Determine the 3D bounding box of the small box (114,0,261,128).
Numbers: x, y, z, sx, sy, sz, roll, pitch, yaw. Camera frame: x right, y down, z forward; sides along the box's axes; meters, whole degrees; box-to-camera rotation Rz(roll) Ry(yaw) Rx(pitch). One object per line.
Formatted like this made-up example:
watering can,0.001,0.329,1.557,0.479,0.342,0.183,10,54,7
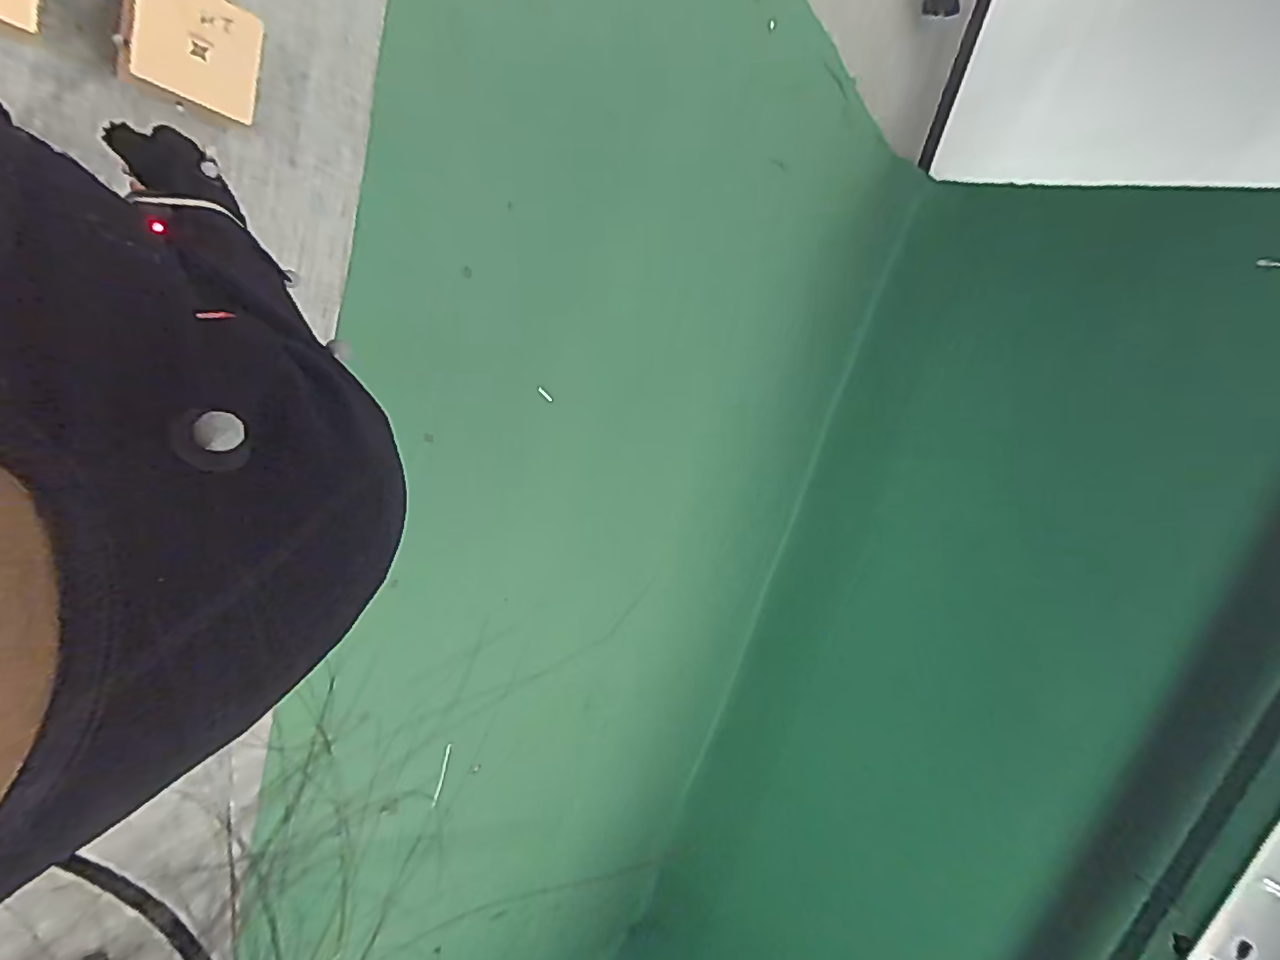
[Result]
small box,-0.797,-0.749,0.949,0.168,0.176,0.179,2,108,-51
